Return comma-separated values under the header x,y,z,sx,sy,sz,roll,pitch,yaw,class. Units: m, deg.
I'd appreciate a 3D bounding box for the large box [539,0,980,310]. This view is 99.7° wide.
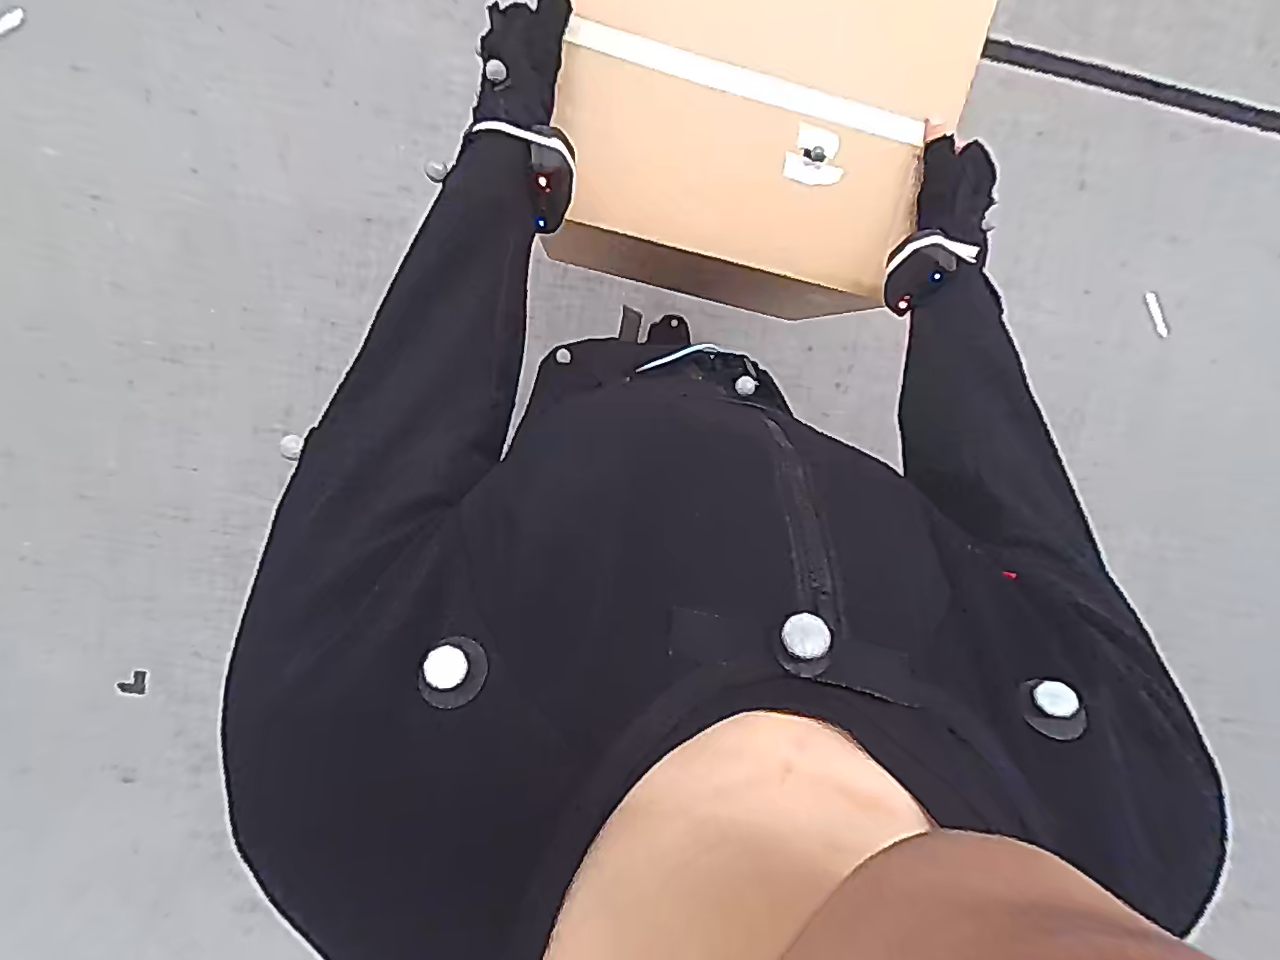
x,y,z,sx,sy,sz,roll,pitch,yaw,class
0.102,-0.420,0.679,0.408,0.320,0.320,11,103,-9,large box
